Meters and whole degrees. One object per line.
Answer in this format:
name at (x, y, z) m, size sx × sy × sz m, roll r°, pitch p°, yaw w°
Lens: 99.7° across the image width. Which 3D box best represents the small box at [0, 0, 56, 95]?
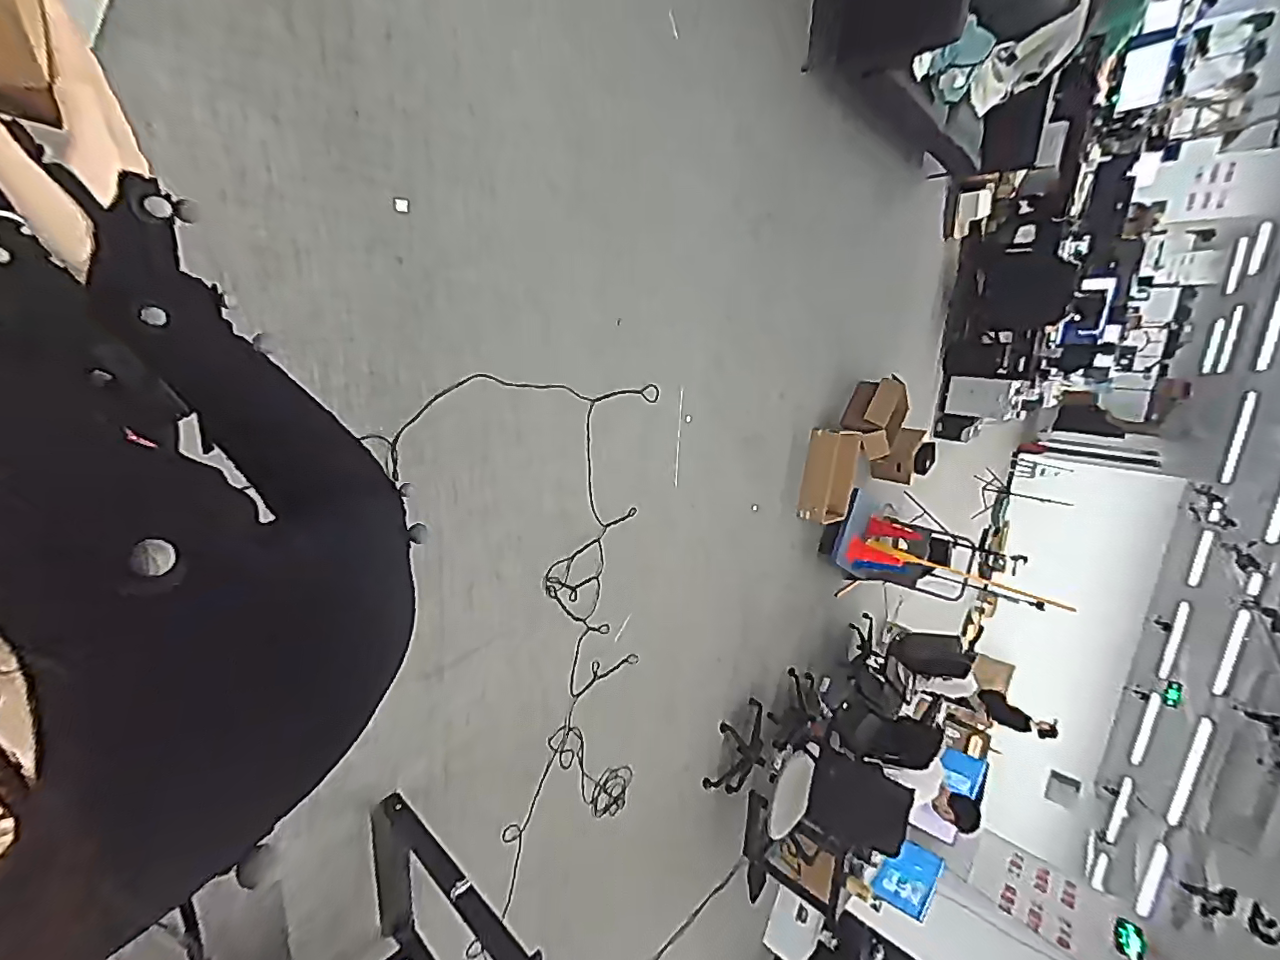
small box at (-0.378, -0.300, 0.216) m, size 0.179 × 0.176 × 0.168 m, roll -4°, pitch 98°, yaw -42°
